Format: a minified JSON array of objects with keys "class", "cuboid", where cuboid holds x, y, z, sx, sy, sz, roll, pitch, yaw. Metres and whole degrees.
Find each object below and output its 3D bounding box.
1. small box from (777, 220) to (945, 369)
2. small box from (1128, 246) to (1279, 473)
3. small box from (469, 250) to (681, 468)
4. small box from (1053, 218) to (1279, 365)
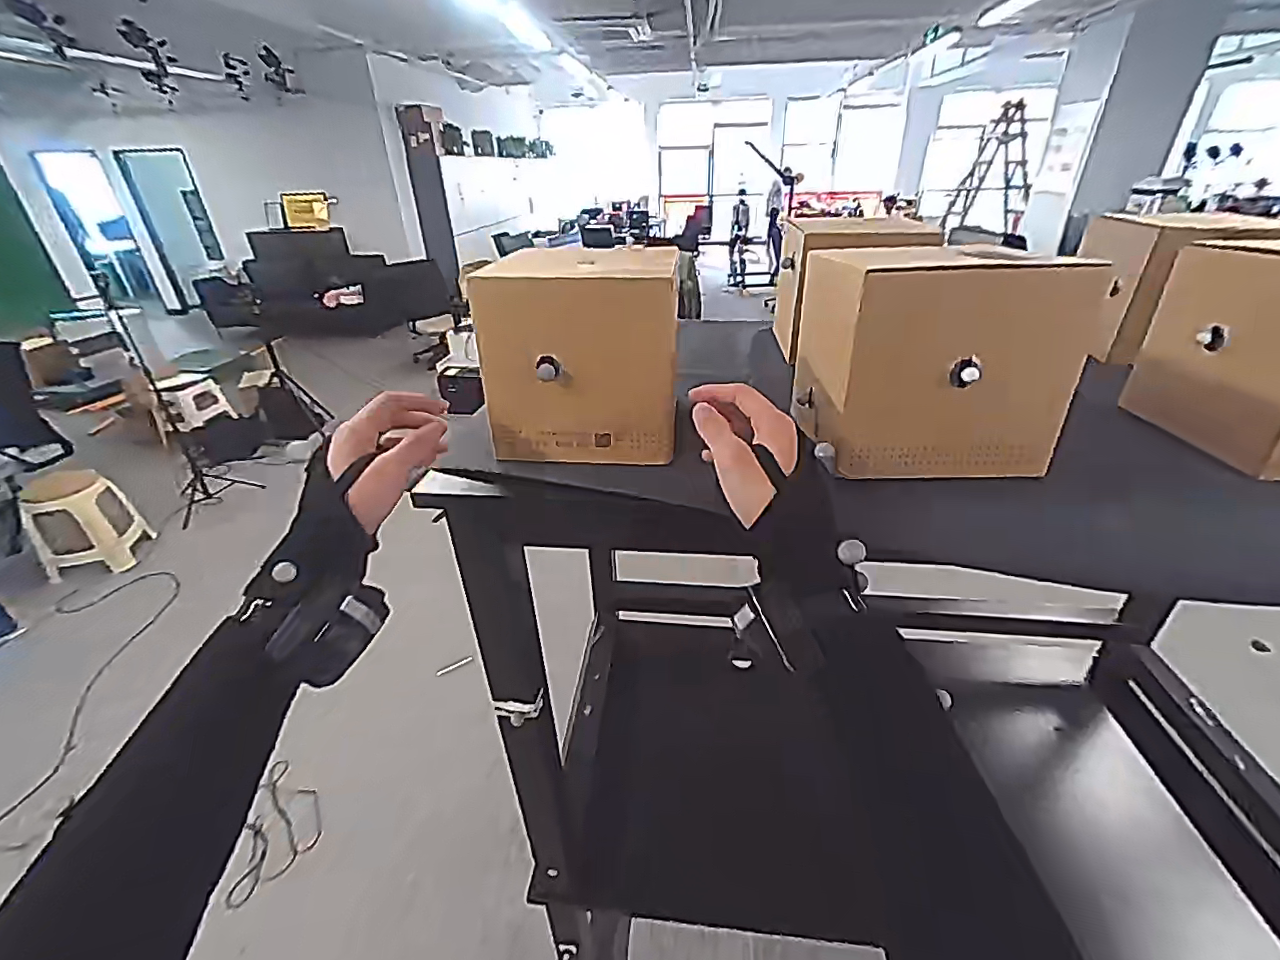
[{"class":"small box","cuboid":[0.289,-0.260,0.752,0.168,0.176,0.179,2,31,5]},{"class":"small box","cuboid":[0.589,-0.103,0.465,0.168,0.176,0.179,2,28,7]},{"class":"small box","cuboid":[-0.045,-0.121,0.526,0.168,0.176,0.179,2,30,4]},{"class":"small box","cuboid":[0.701,-0.248,0.719,0.168,0.176,0.179,6,30,10]}]
